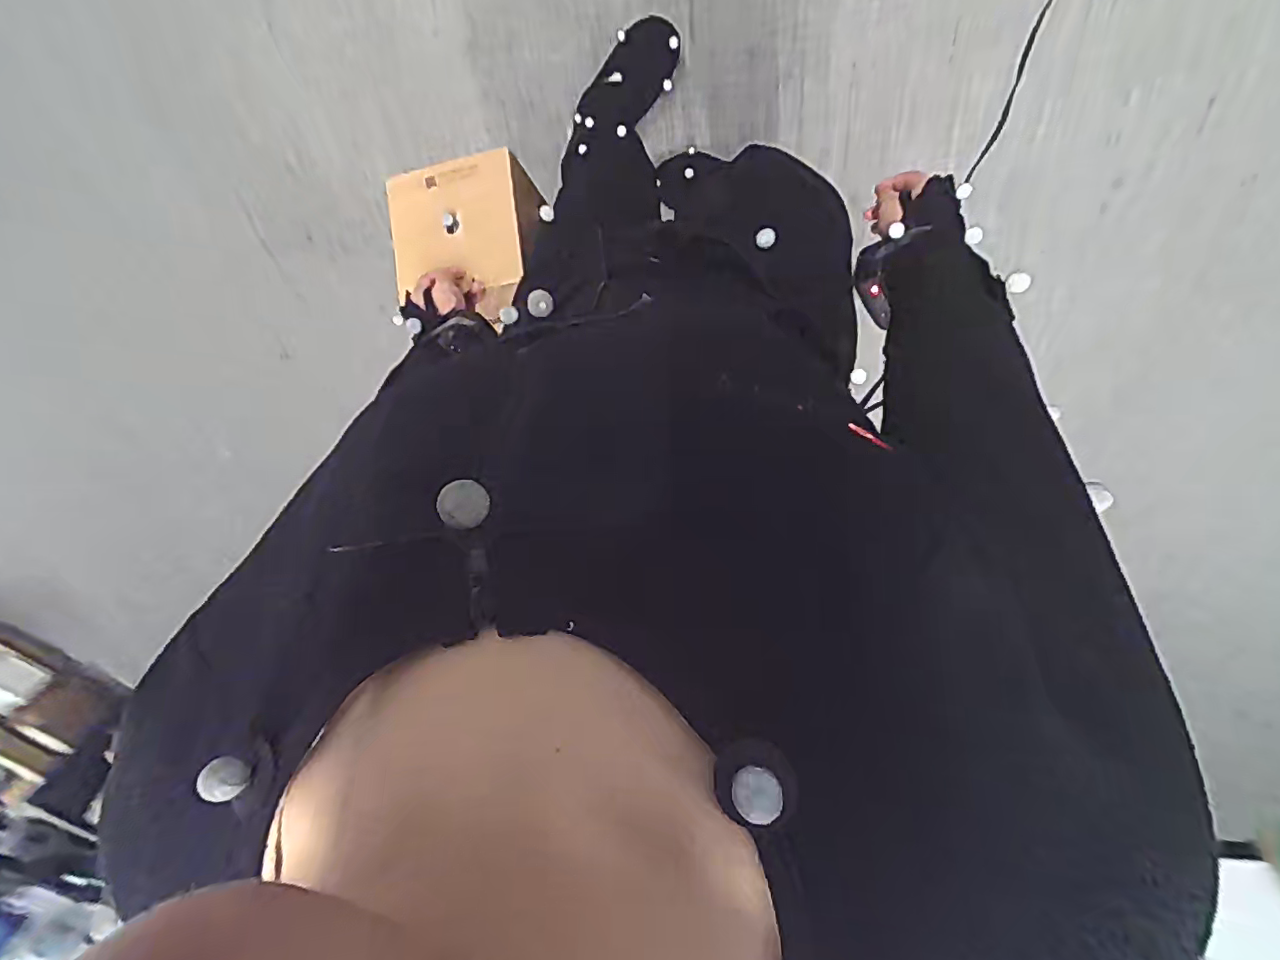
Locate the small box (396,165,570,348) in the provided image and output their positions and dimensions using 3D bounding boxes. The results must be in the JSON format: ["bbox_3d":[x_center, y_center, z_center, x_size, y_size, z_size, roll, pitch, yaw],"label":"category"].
[{"bbox_3d":[-0.207,-0.297,0.734,0.168,0.179,0.176,-7,87,11],"label":"small box"}]
